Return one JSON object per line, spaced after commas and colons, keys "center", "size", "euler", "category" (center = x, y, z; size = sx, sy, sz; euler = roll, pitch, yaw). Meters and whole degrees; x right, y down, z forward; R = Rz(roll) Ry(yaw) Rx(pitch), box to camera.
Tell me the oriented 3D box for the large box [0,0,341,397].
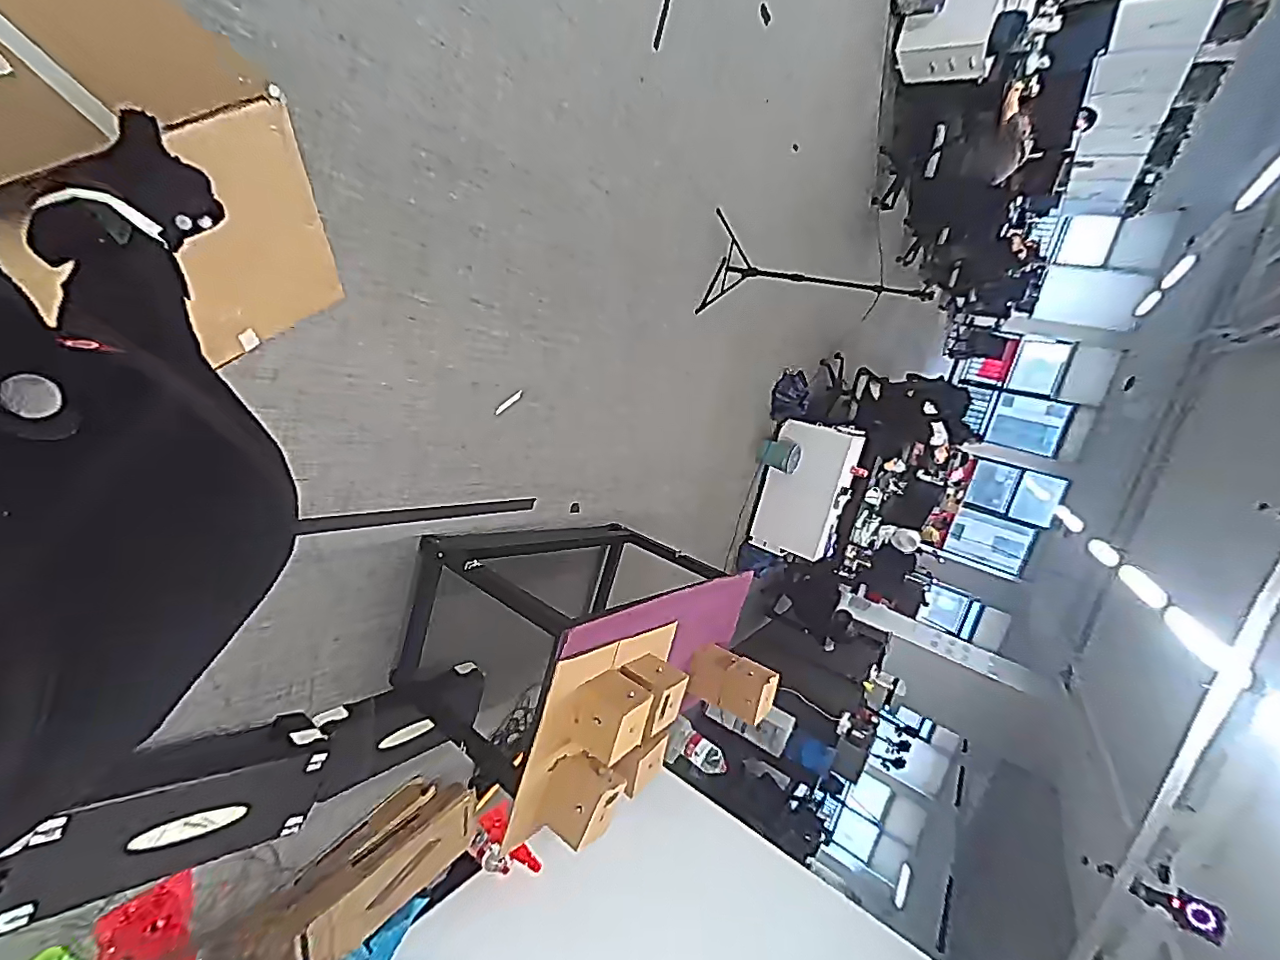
{"center": [-0.661, -0.384, 0.653], "size": [0.320, 0.408, 0.320], "euler": [-48, 178, -26], "category": "large box"}
